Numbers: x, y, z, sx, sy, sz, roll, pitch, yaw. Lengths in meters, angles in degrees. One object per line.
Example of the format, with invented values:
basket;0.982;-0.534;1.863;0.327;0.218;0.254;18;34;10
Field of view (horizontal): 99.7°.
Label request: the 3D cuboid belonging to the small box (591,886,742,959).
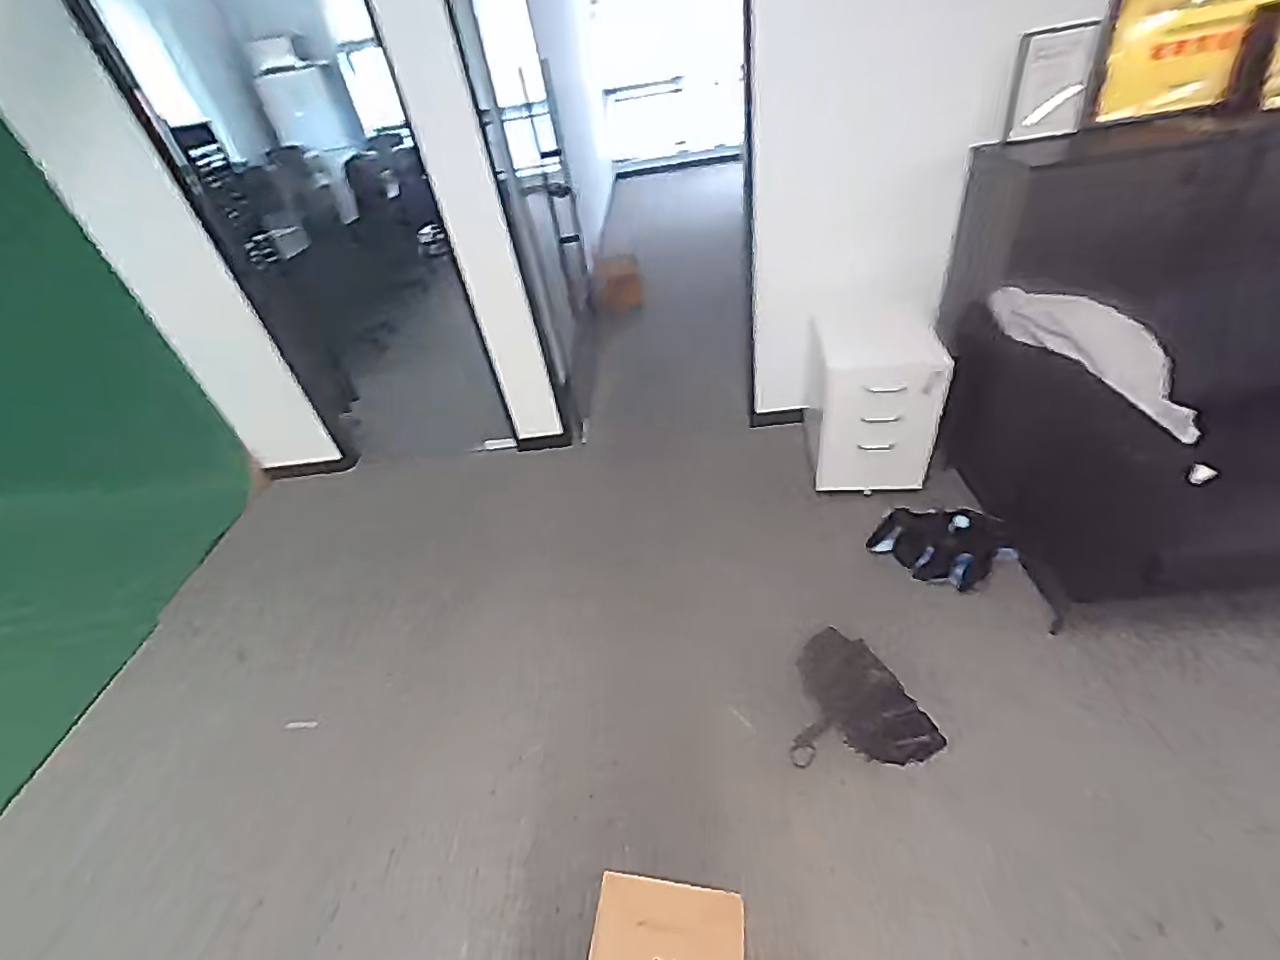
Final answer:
small box;0.024;0.599;0.604;0.168;0.176;0.179;5;34;4
